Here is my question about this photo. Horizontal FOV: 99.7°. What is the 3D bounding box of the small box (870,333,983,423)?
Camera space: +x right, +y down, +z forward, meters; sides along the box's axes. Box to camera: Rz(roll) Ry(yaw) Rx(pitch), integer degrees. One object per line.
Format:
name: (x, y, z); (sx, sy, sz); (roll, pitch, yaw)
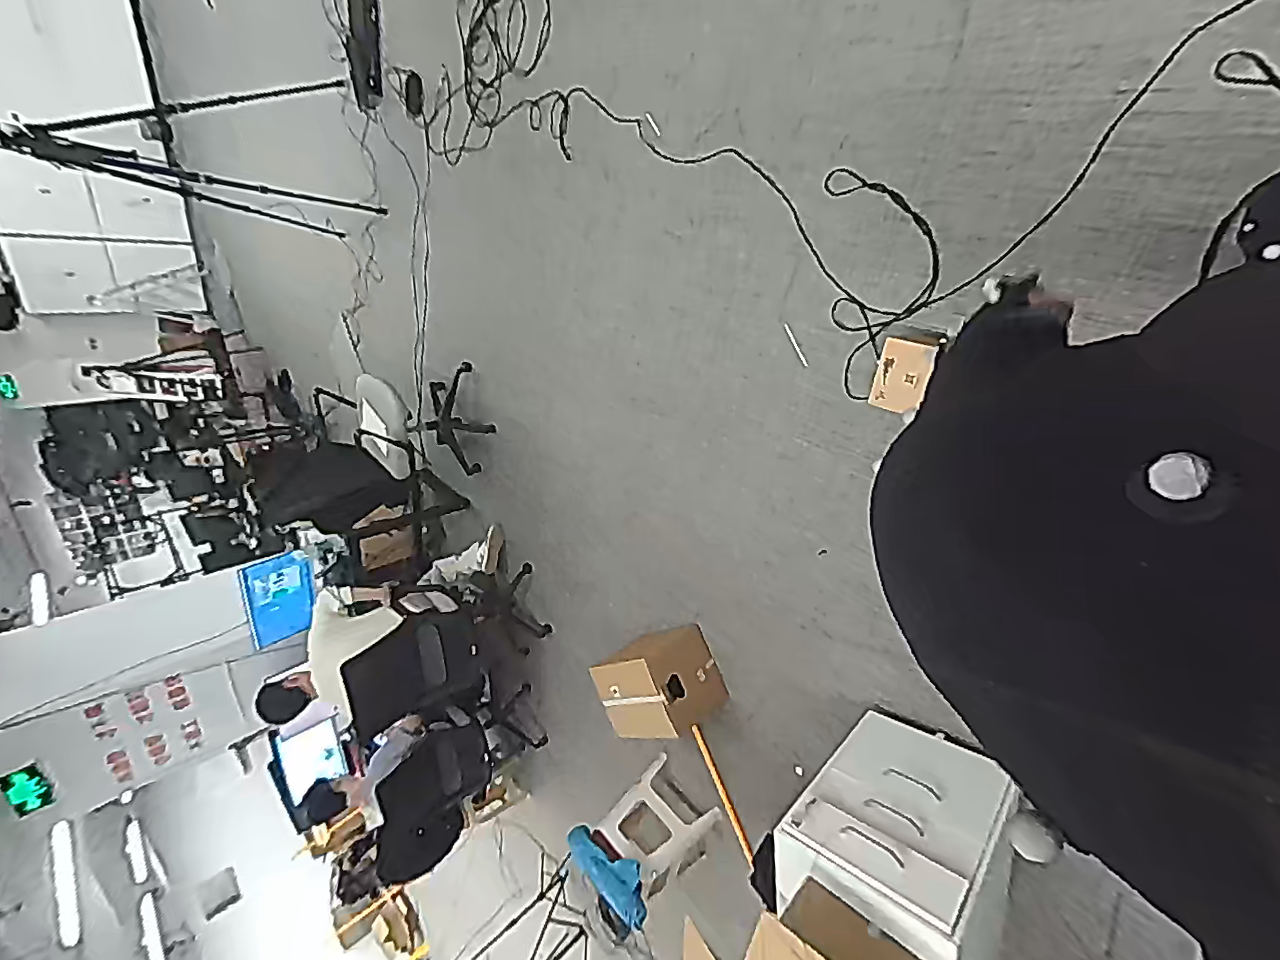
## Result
small box: (0.689, -0.252, 1.297); (0.179, 0.176, 0.168); (27, 122, 36)
